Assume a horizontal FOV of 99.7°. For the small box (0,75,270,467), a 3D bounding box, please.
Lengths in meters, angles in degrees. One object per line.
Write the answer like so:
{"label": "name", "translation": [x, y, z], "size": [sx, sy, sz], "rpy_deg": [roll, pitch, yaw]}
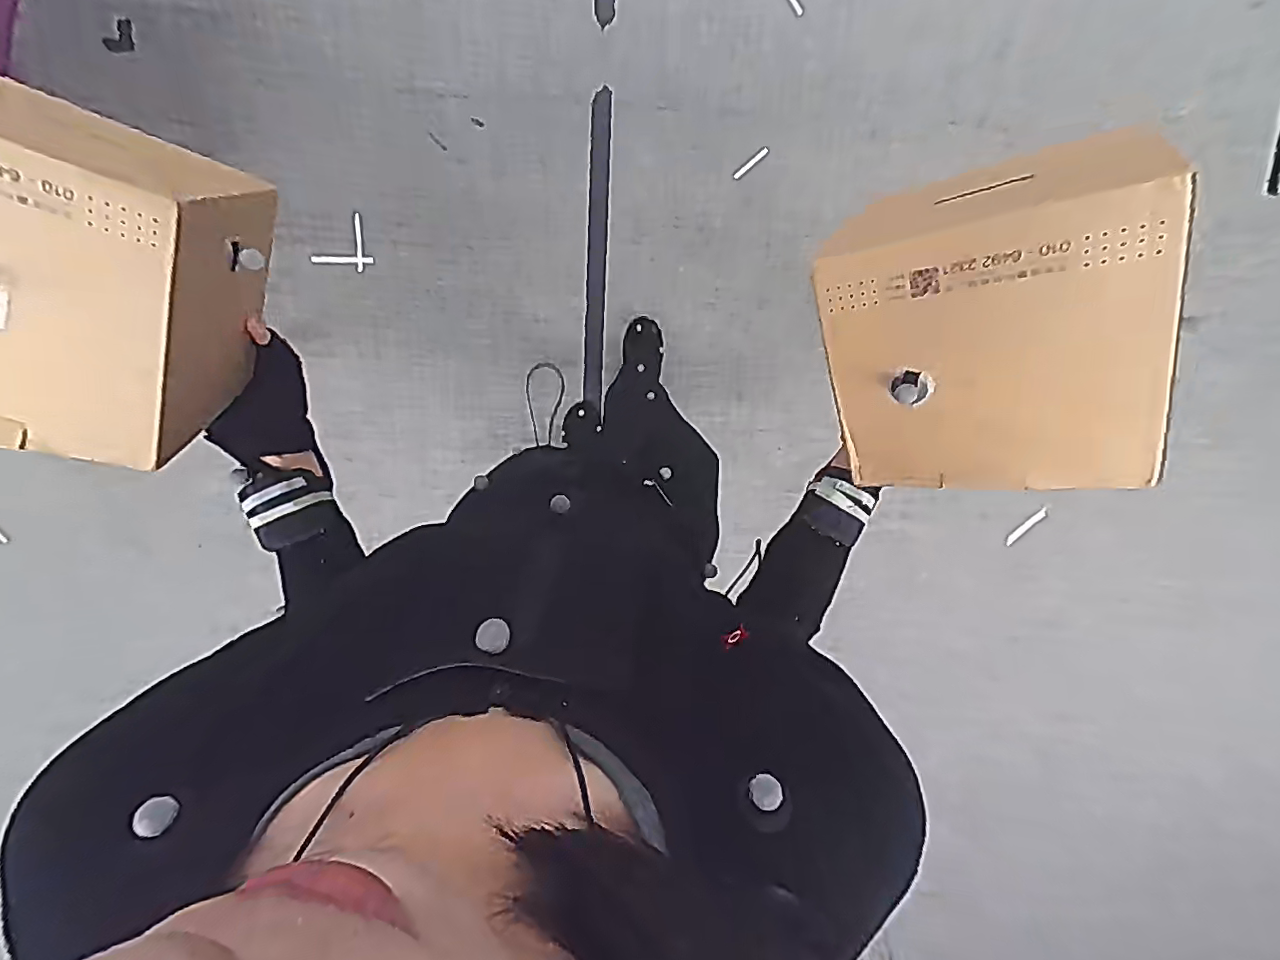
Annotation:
{"label": "small box", "translation": [-0.354, -0.135, 0.329], "size": [0.168, 0.179, 0.176], "rpy_deg": [16, 113, -24]}
